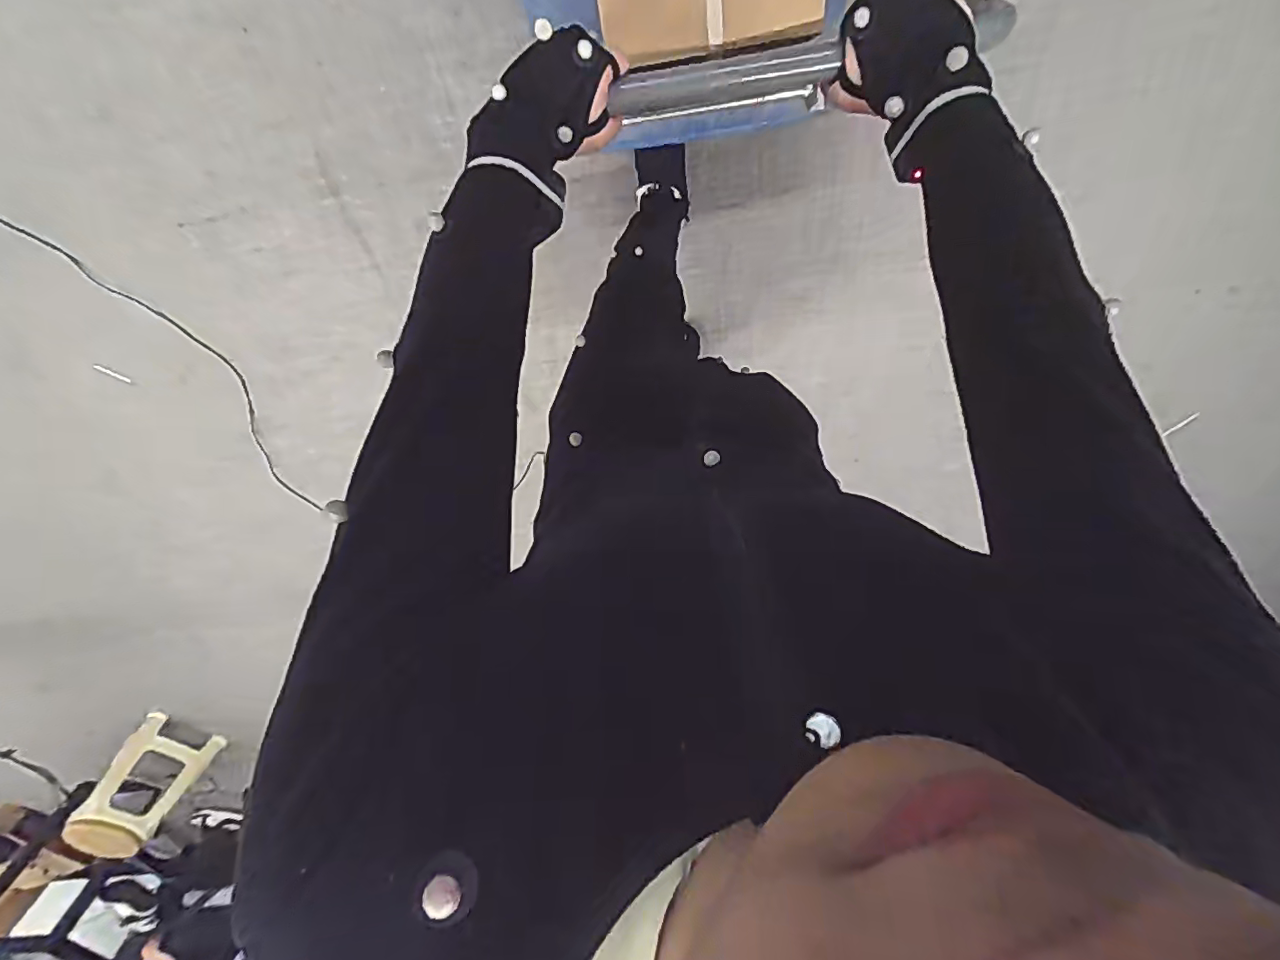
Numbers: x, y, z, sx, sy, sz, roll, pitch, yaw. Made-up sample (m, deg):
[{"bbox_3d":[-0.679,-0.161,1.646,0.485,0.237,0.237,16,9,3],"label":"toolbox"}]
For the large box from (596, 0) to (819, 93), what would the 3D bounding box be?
[{"bbox_3d":[0.078,-0.866,0.818,0.320,0.320,0.408,-7,121,5],"label":"large box"}]
